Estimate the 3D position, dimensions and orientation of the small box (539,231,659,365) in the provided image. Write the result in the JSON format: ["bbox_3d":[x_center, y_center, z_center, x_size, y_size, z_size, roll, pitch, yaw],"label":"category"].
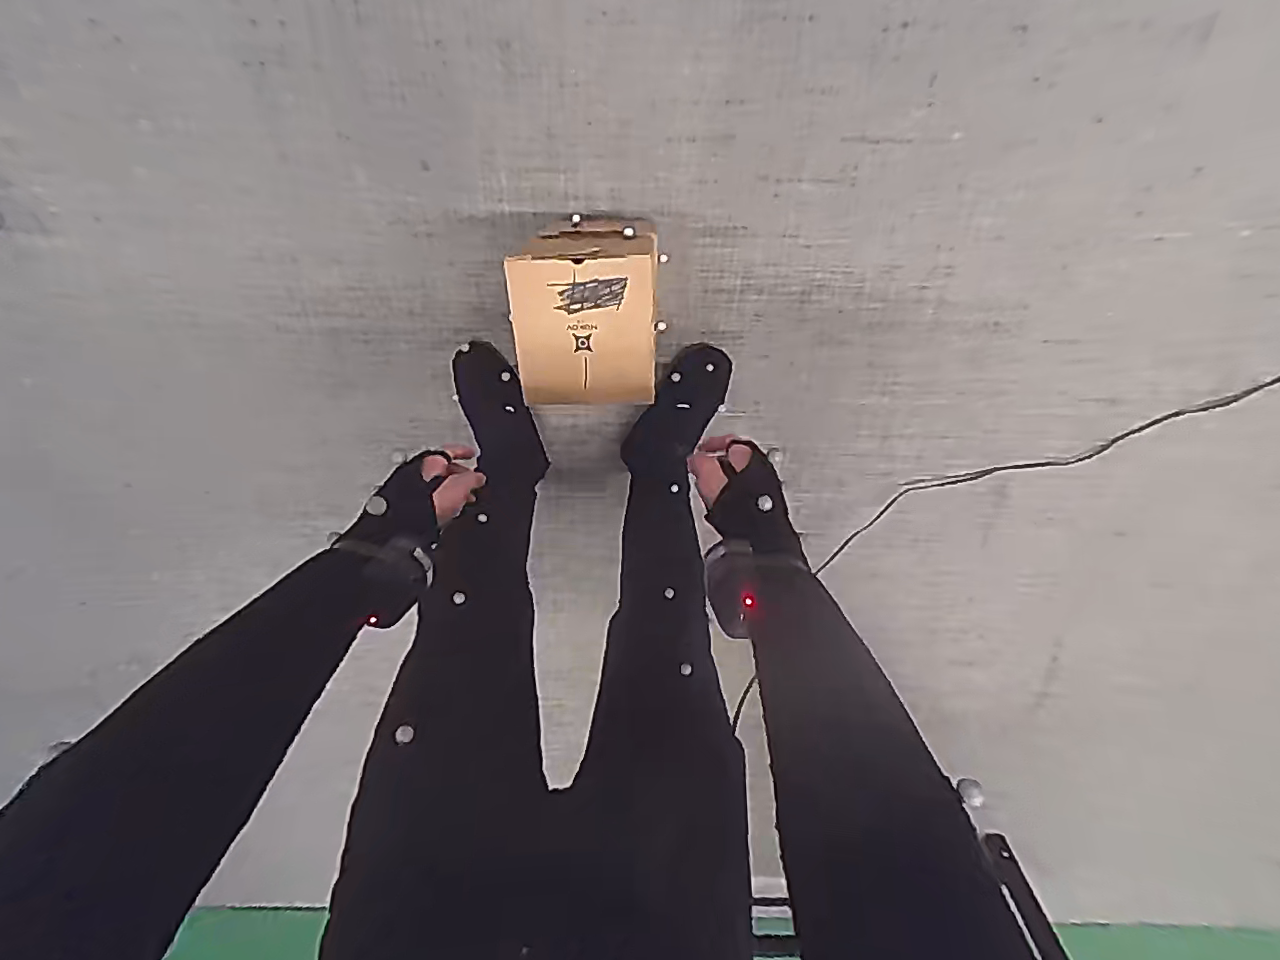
[{"bbox_3d":[-0.055,-0.287,0.841,0.168,0.176,0.179,0,121,2],"label":"small box"}]

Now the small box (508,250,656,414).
[{"bbox_3d":[-0.063,-0.199,0.703,0.168,0.176,0.179,0,121,2],"label":"small box"}]
